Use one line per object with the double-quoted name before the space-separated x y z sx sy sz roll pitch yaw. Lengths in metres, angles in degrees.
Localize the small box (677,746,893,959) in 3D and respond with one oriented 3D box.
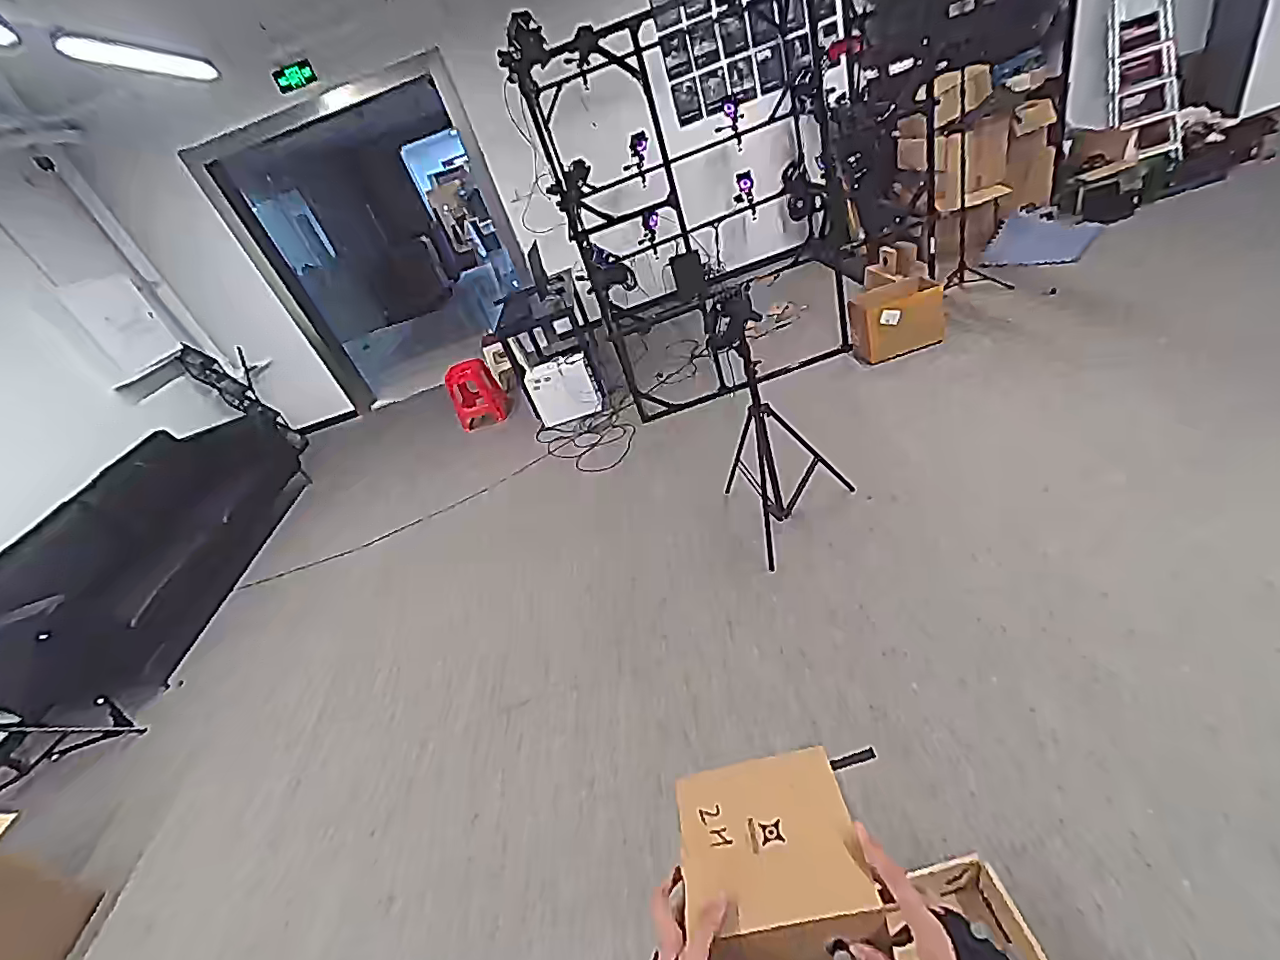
"small box" 0.148 0.420 0.565 0.179 0.176 0.168 -16 22 7
